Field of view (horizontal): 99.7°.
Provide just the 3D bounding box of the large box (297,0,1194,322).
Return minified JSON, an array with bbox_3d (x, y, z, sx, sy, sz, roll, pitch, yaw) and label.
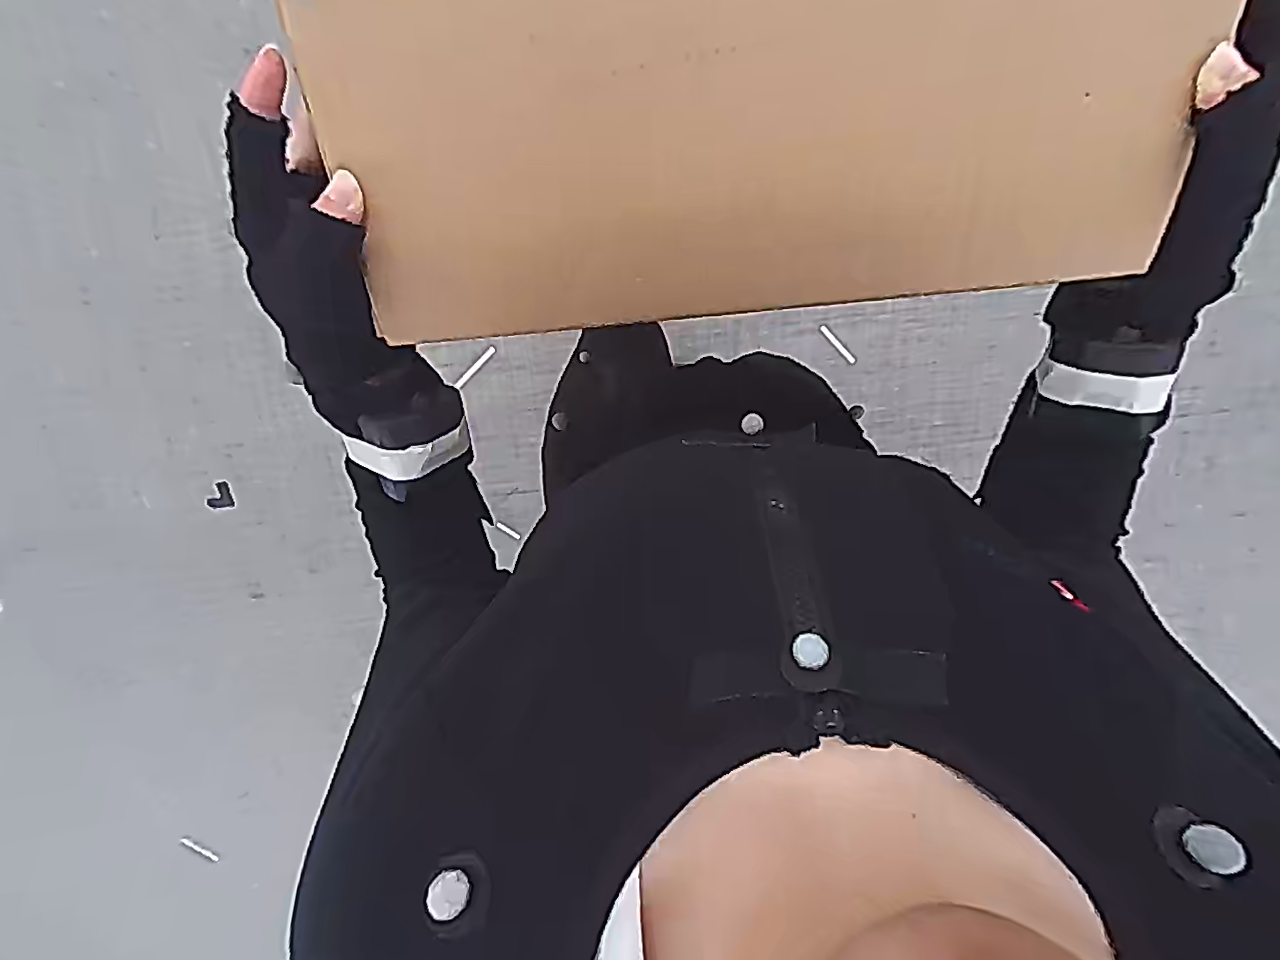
[{"bbox_3d":[0.041,-0.312,0.355,0.408,0.320,0.320,-5,119,1],"label":"large box"}]
